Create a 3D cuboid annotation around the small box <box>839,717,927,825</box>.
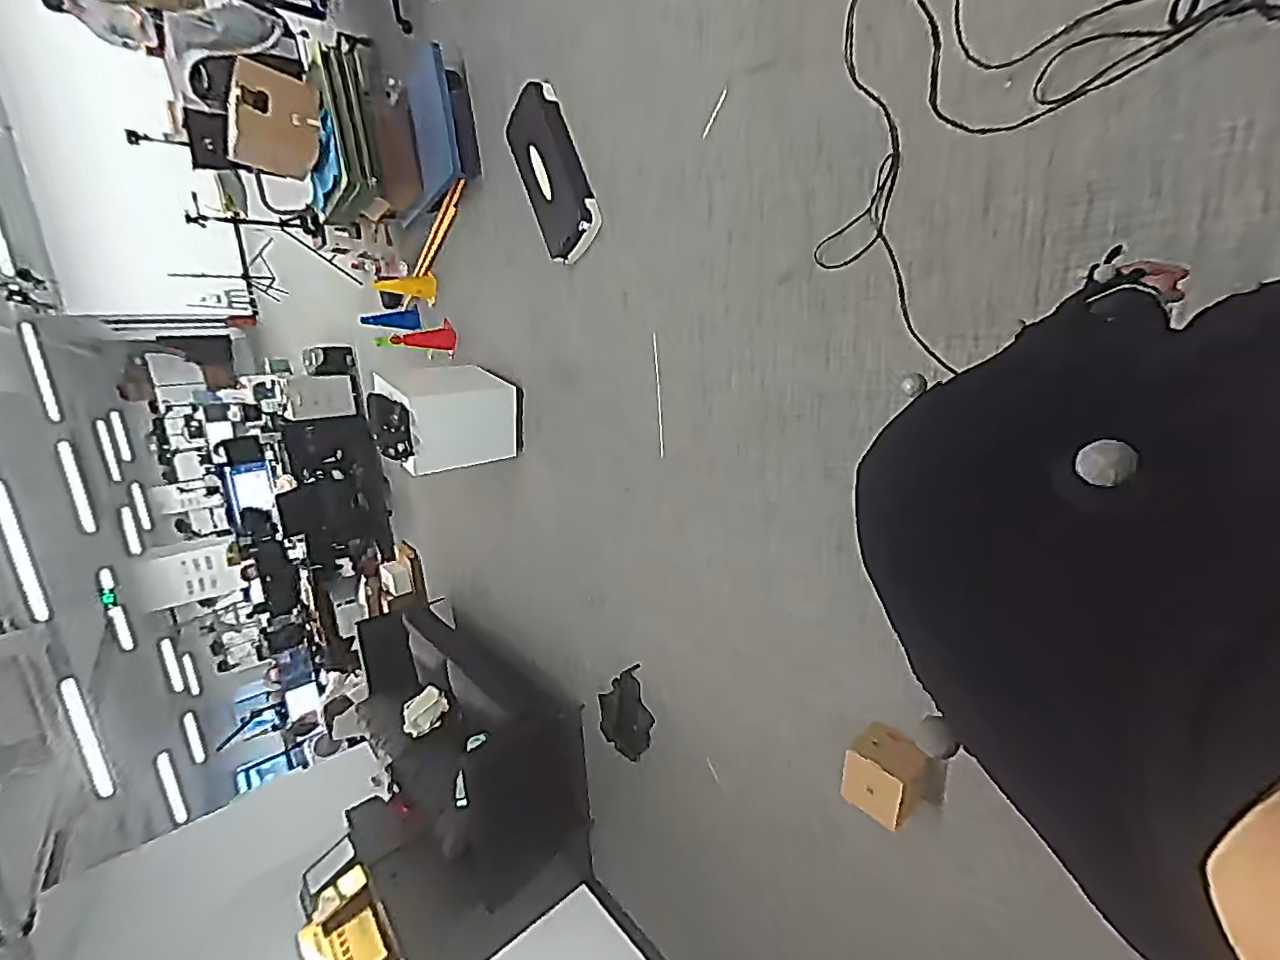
[{"bbox_3d":[0.694,0.817,1.539,0.168,0.176,0.179,20,118,48],"label":"small box"}]
